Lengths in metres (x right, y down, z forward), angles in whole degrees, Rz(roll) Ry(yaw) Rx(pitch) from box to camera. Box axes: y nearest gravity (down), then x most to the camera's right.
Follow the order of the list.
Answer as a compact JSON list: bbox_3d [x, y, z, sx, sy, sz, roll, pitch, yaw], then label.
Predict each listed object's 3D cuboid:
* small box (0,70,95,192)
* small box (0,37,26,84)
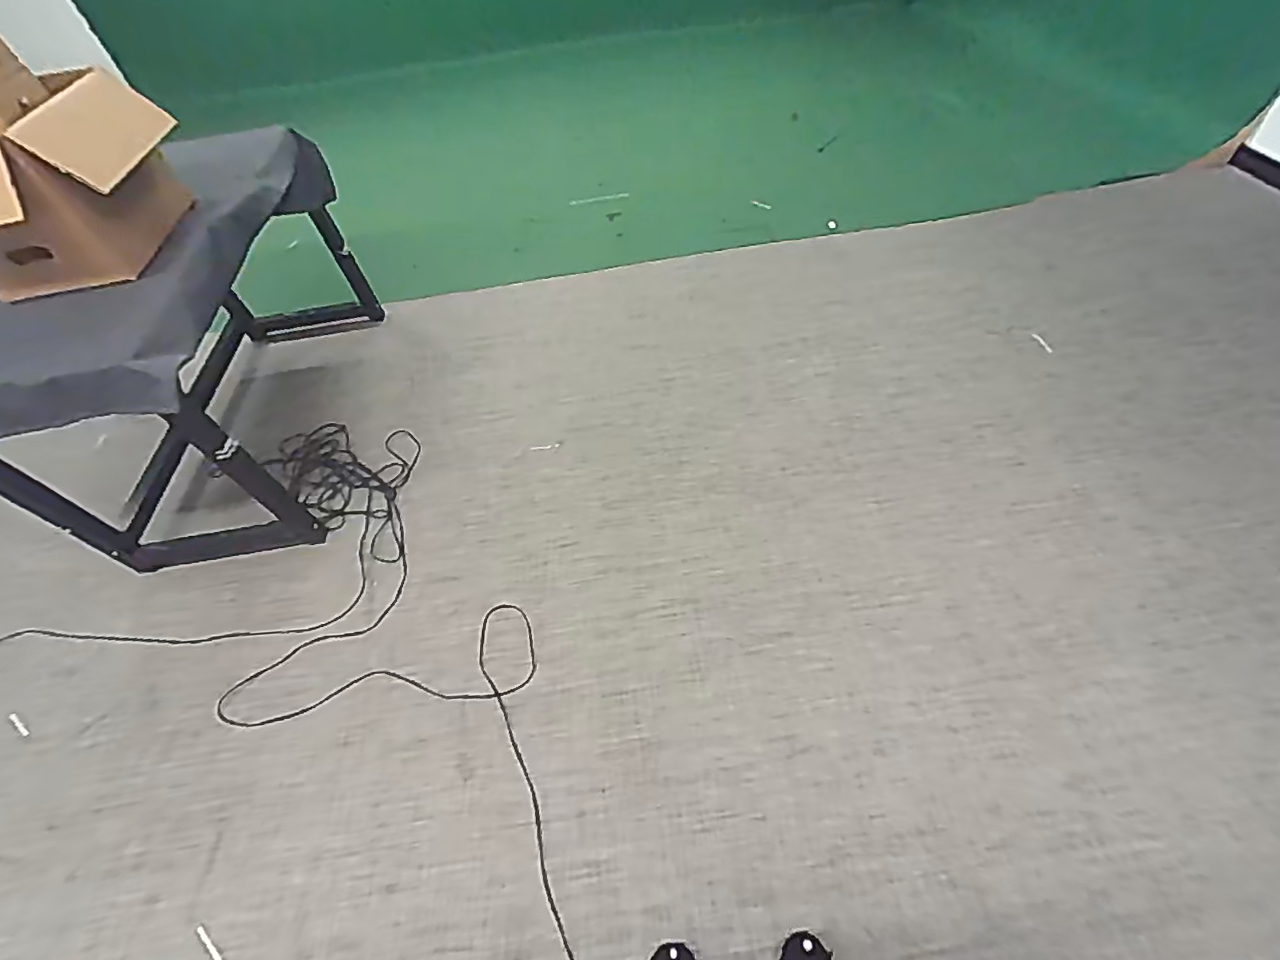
[{"bbox_3d":[-1.362,-0.756,1.175,0.168,0.176,0.179,-10,53,0],"label":"small box"},{"bbox_3d":[-1.387,-0.852,1.047,0.179,0.176,0.168,-10,52,1],"label":"small box"}]
